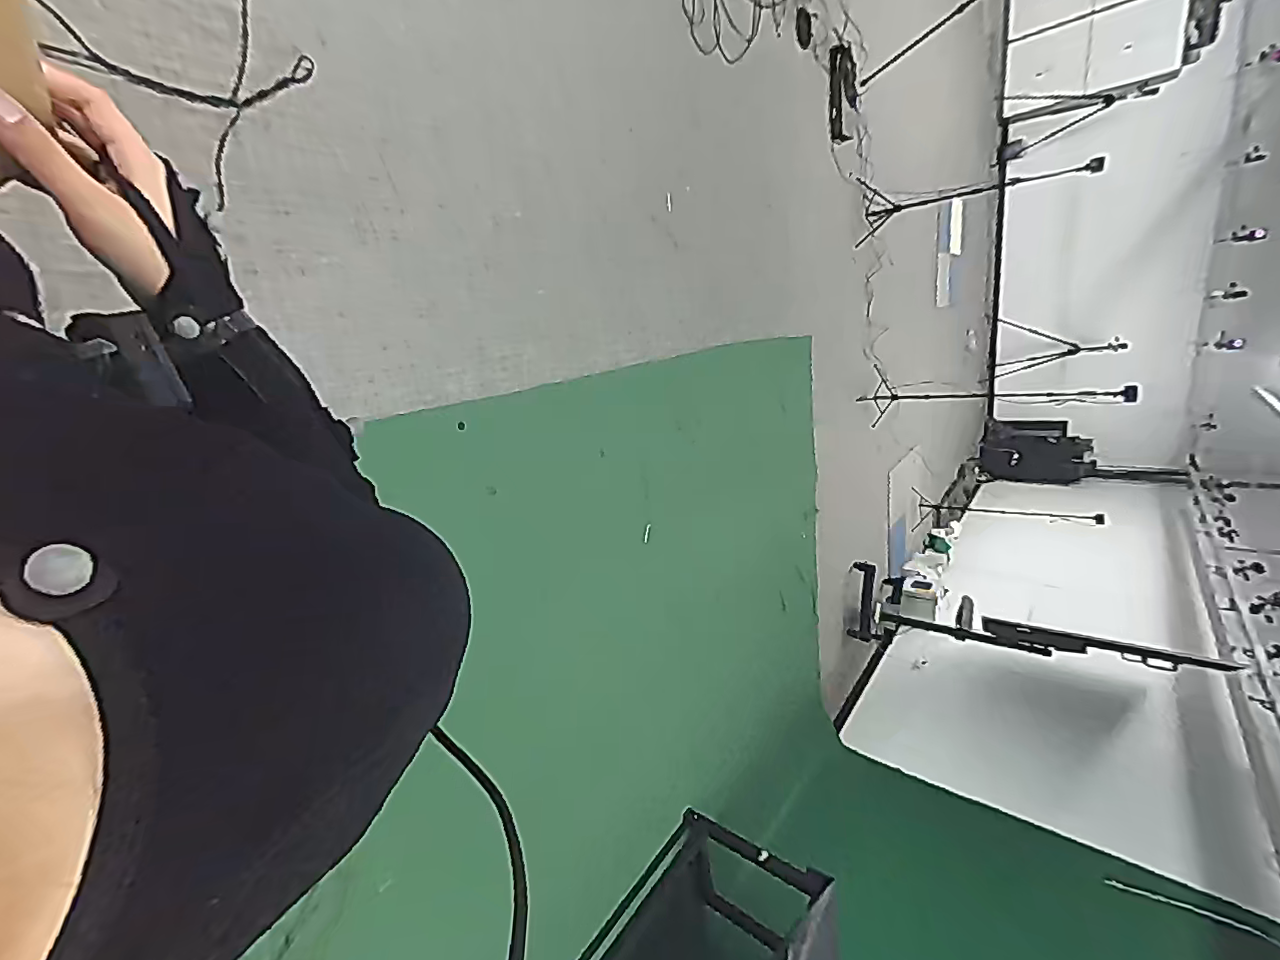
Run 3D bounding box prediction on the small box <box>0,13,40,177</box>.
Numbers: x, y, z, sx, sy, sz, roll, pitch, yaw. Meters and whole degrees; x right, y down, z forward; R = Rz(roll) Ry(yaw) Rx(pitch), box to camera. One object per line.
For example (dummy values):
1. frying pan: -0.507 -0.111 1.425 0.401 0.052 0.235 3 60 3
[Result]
1. small box: -0.384 -0.188 0.193 0.168 0.176 0.179 46 61 -34
